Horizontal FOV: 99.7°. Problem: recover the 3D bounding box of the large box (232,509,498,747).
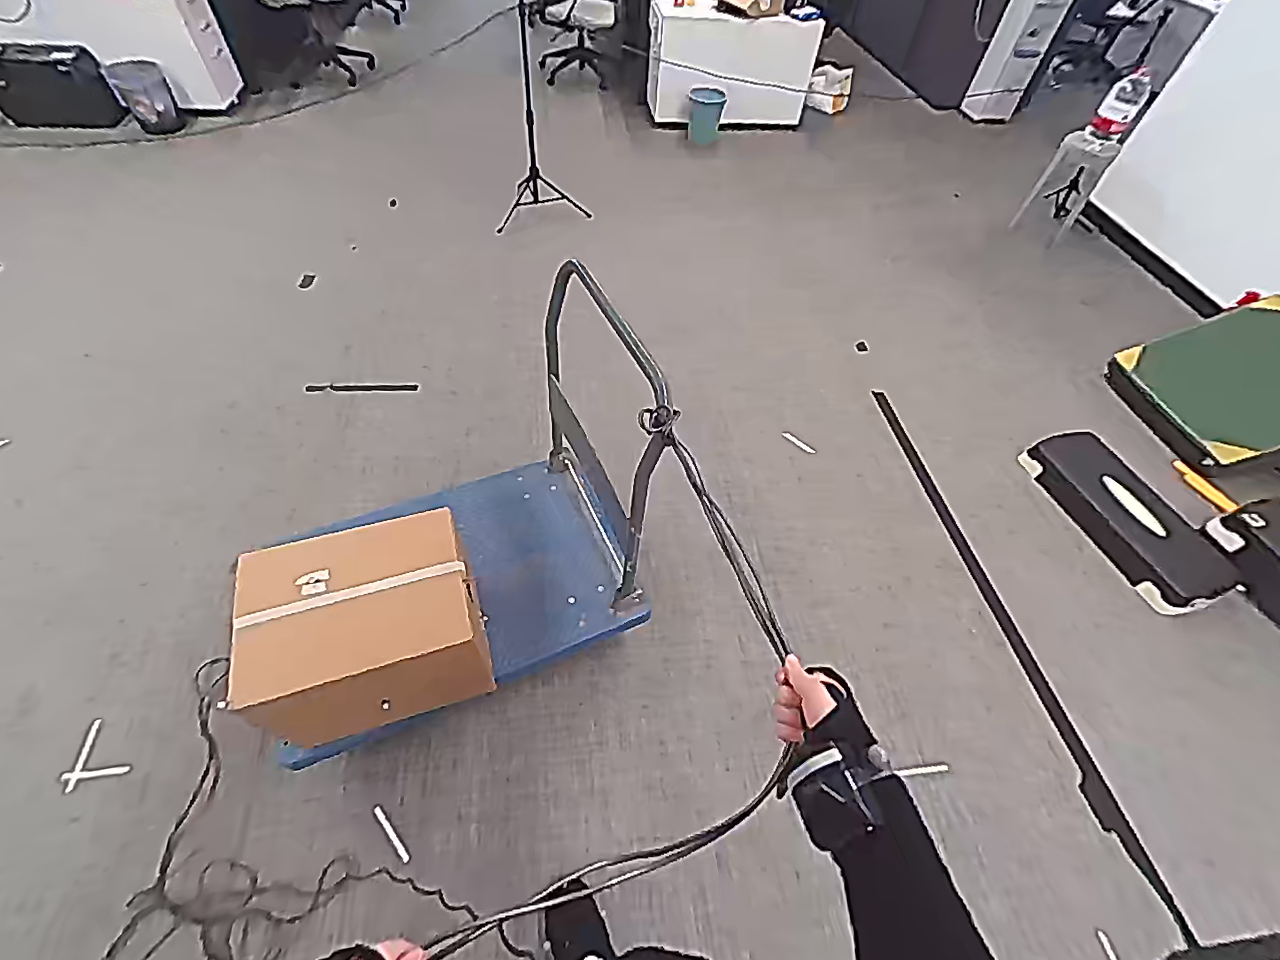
[{"bbox_3d":[-0.549,0.312,1.142,0.408,0.320,0.320,-14,54,-14],"label":"large box"}]
